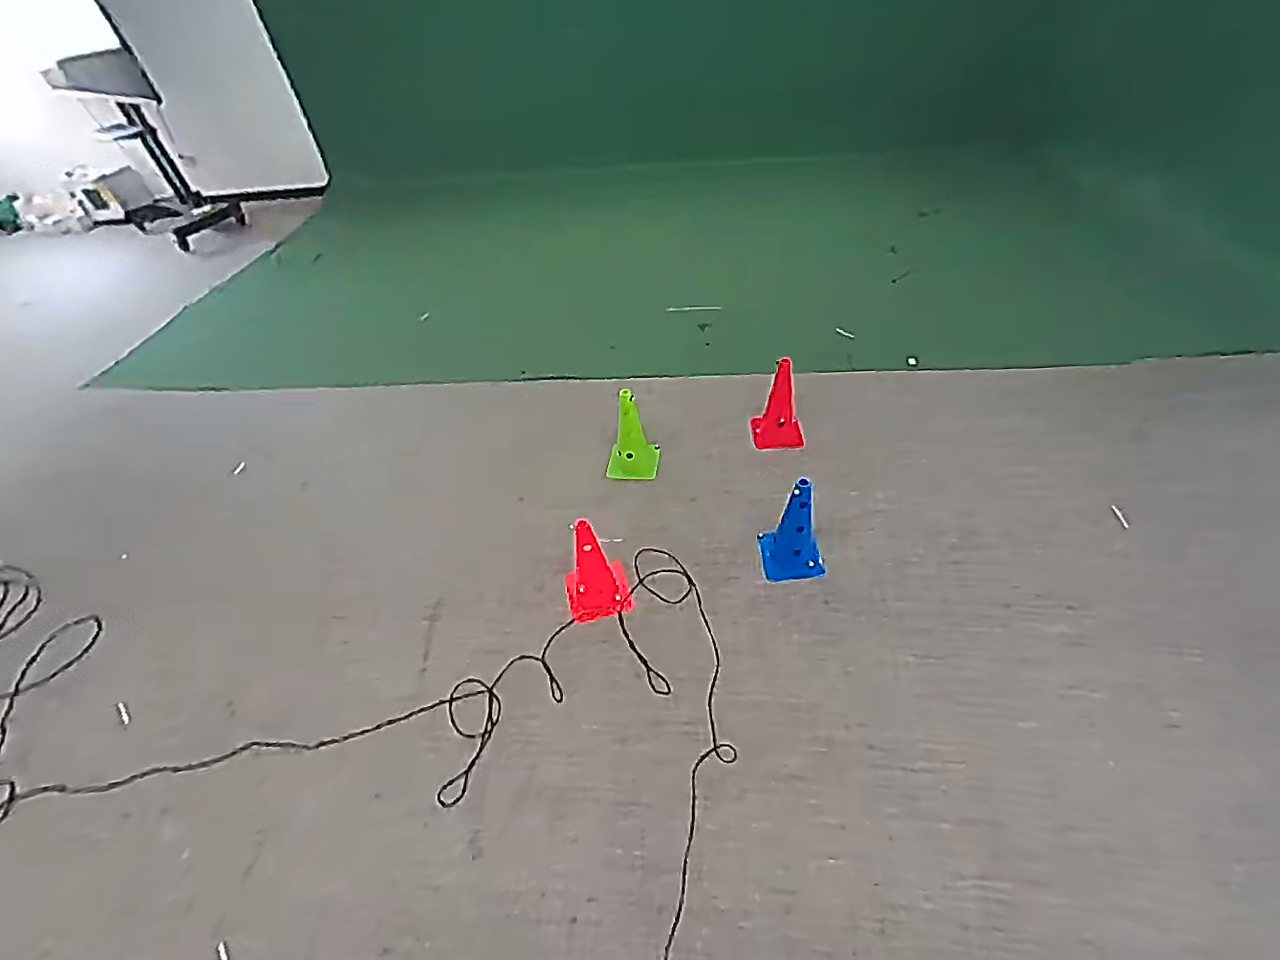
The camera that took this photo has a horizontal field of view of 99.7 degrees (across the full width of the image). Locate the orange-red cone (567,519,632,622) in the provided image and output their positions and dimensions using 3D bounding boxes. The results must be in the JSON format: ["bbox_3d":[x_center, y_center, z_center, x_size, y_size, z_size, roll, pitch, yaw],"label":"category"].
[{"bbox_3d":[-0.149,0.249,1.669,0.198,0.360,0.199,-13,44,-8],"label":"orange-red cone"}]

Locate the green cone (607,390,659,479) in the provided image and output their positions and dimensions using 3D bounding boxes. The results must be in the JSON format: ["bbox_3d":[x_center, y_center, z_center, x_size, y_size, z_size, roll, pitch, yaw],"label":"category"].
[{"bbox_3d":[-0.044,-0.195,2.091,0.200,0.368,0.202,1,47,8],"label":"green cone"}]
